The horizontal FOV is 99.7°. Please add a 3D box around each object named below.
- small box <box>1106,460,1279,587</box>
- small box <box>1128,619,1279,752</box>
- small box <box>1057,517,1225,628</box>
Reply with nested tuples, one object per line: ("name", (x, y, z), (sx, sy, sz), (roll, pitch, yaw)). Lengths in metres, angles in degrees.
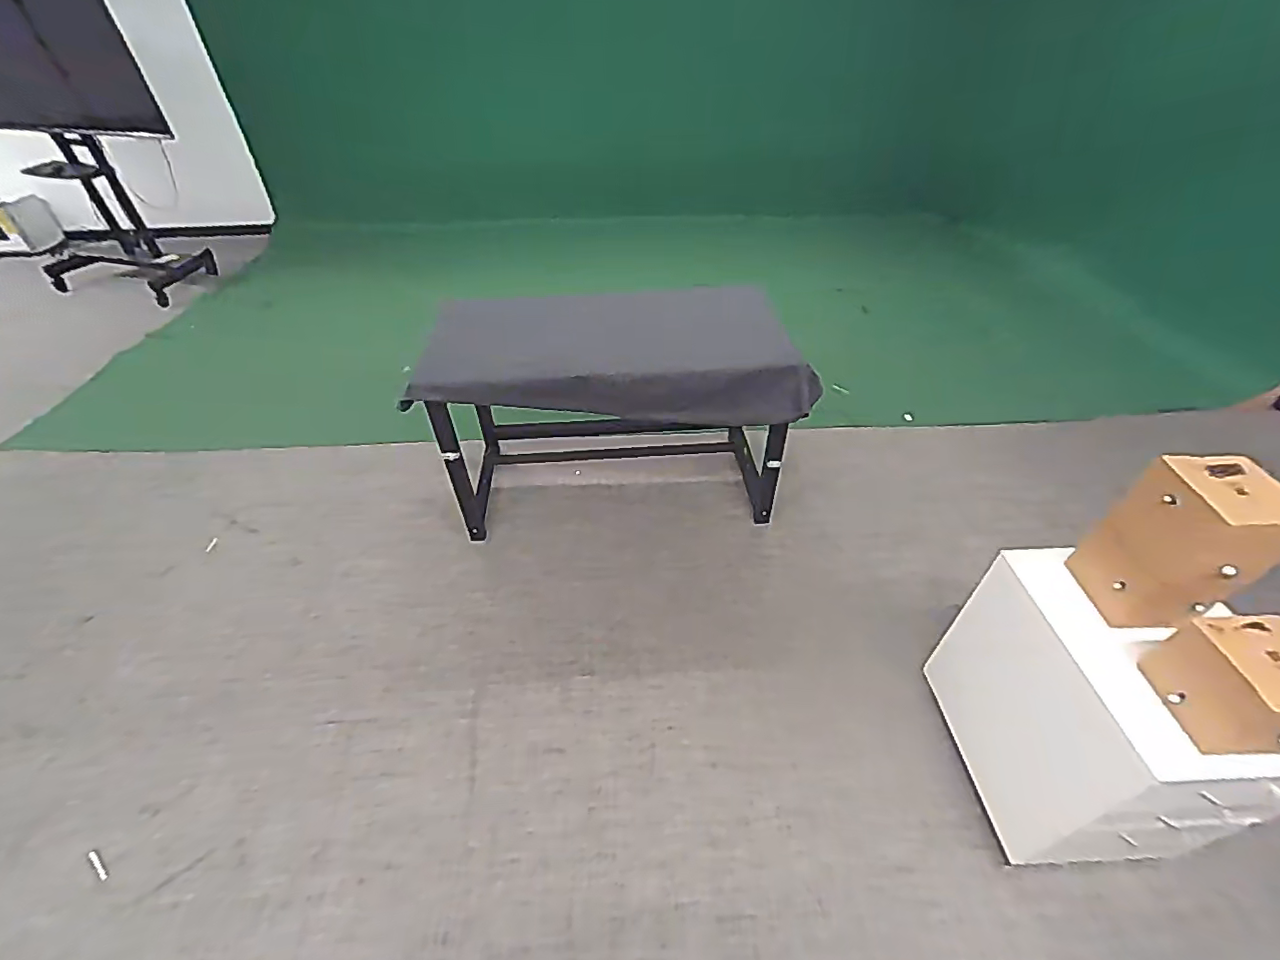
("small box", (1.056, 0.082, 1.028), (0.168, 0.176, 0.179), (1, 45, -1))
("small box", (1.047, 0.367, 0.960), (0.168, 0.176, 0.179), (0, 43, -1))
("small box", (1.048, 0.198, 1.144), (0.168, 0.176, 0.179), (0, 42, -2))
